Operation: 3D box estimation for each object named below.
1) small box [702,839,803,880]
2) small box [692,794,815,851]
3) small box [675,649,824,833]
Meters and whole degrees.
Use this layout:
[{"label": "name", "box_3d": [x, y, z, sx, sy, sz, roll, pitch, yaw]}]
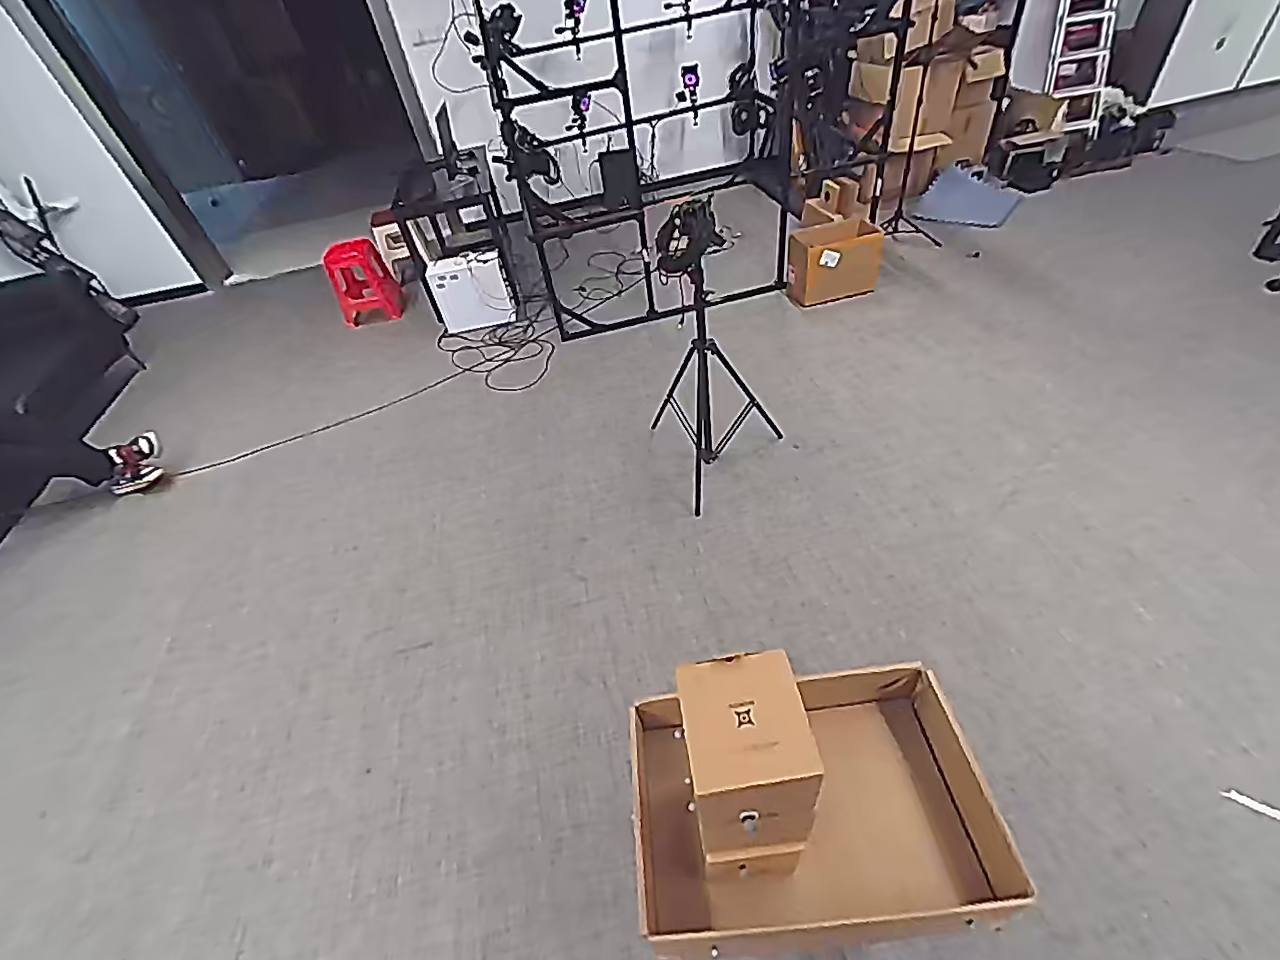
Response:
[{"label": "small box", "box_3d": [0.190, 0.612, 0.993, 0.168, 0.176, 0.179, -9, 43, 1]}, {"label": "small box", "box_3d": [0.173, 0.488, 0.886, 0.179, 0.176, 0.168, -7, 43, 2]}, {"label": "small box", "box_3d": [0.147, 0.372, 0.774, 0.168, 0.176, 0.179, -10, 42, 1]}]
